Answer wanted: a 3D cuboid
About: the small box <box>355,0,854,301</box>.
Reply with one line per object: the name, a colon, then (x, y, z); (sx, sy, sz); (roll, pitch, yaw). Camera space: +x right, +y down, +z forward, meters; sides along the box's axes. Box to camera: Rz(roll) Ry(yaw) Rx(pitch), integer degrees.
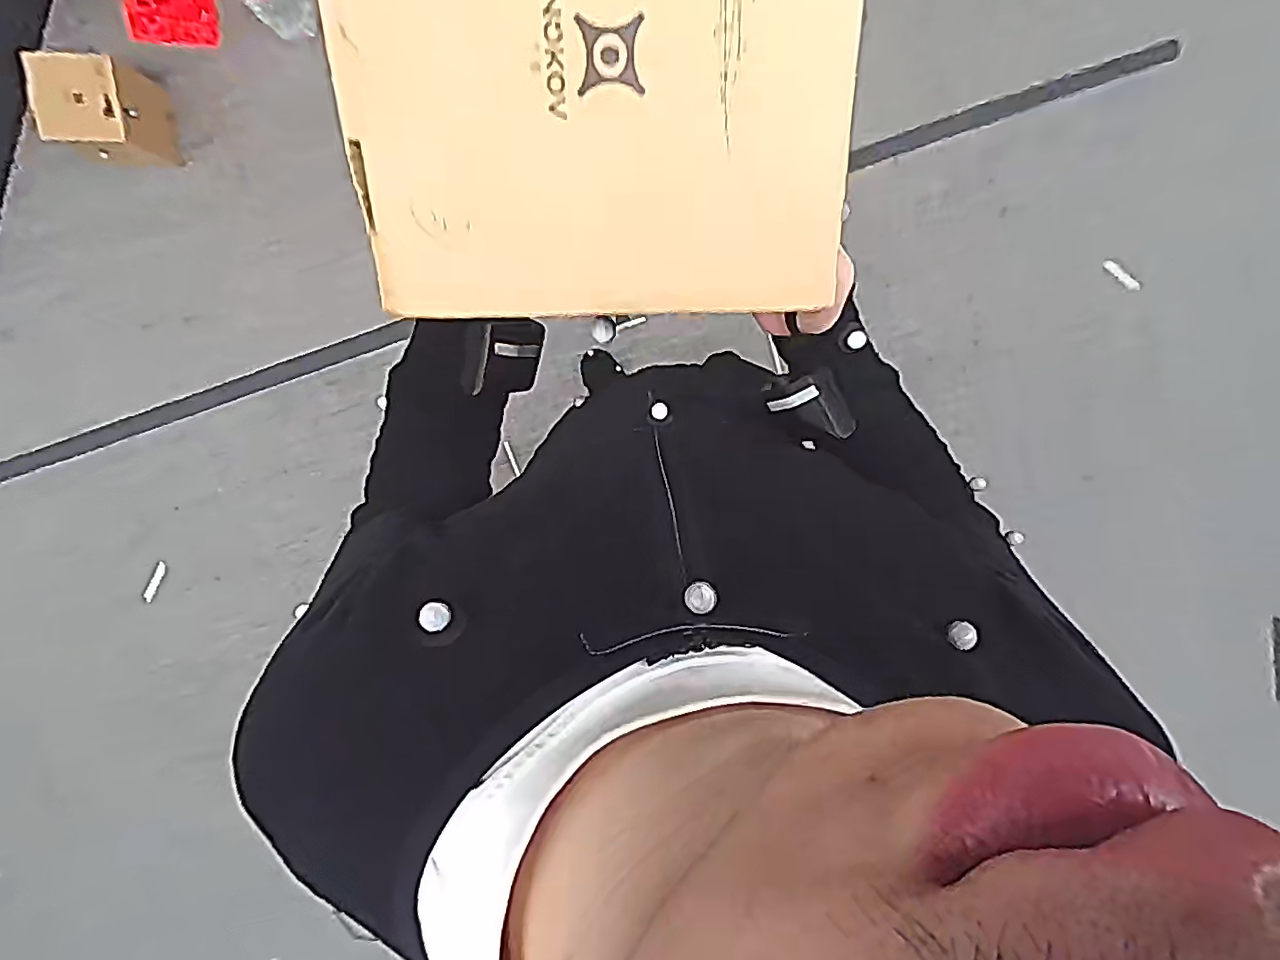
small box: (-0.013, -0.176, 0.267); (0.179, 0.176, 0.168); (-1, 110, -1)
